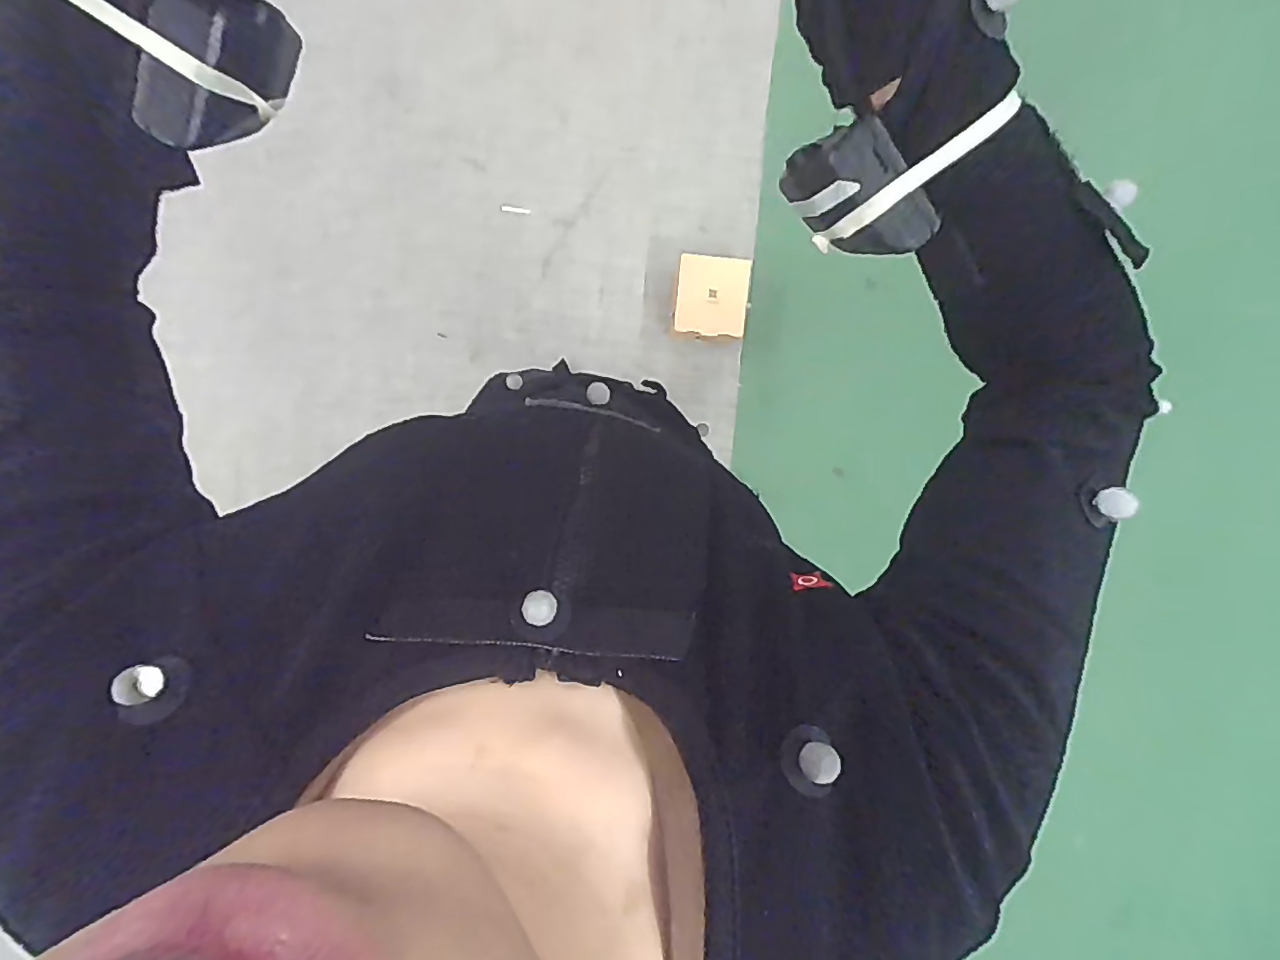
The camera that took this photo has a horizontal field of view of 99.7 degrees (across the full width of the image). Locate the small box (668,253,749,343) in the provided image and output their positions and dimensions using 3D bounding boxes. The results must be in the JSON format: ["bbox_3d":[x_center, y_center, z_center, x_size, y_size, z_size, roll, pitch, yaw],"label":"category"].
[{"bbox_3d":[0.162,-0.440,1.330,0.168,0.176,0.179,4,99,-2],"label":"small box"}]
